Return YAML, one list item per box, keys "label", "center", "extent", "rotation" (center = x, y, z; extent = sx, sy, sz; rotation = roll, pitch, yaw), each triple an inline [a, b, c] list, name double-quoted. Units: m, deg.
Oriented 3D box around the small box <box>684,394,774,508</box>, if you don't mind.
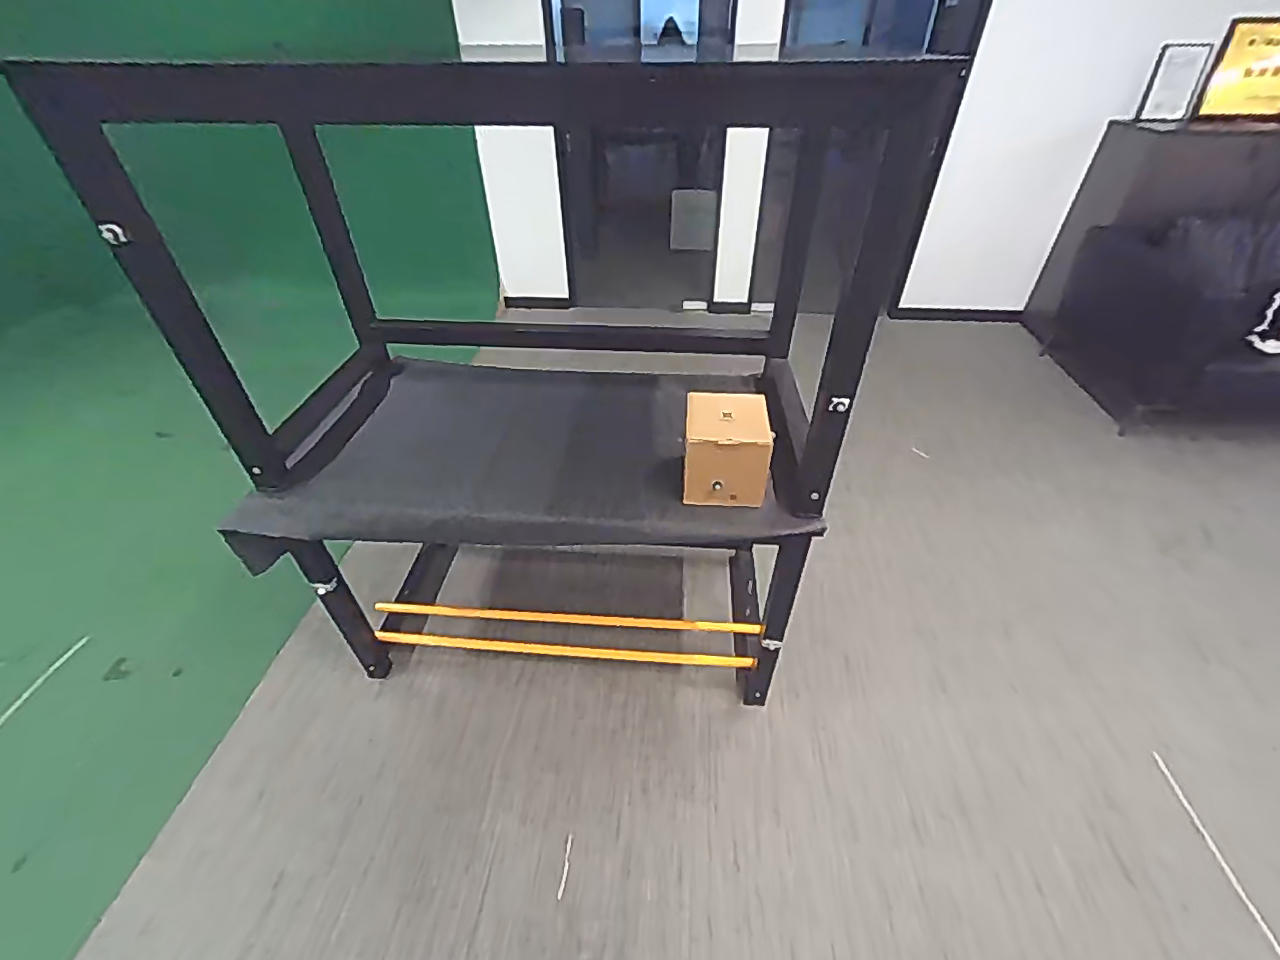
- label: "small box"
  center: [0.179, -0.062, 1.135]
  extent: [0.168, 0.176, 0.179]
  rotation: [2, 40, 4]
